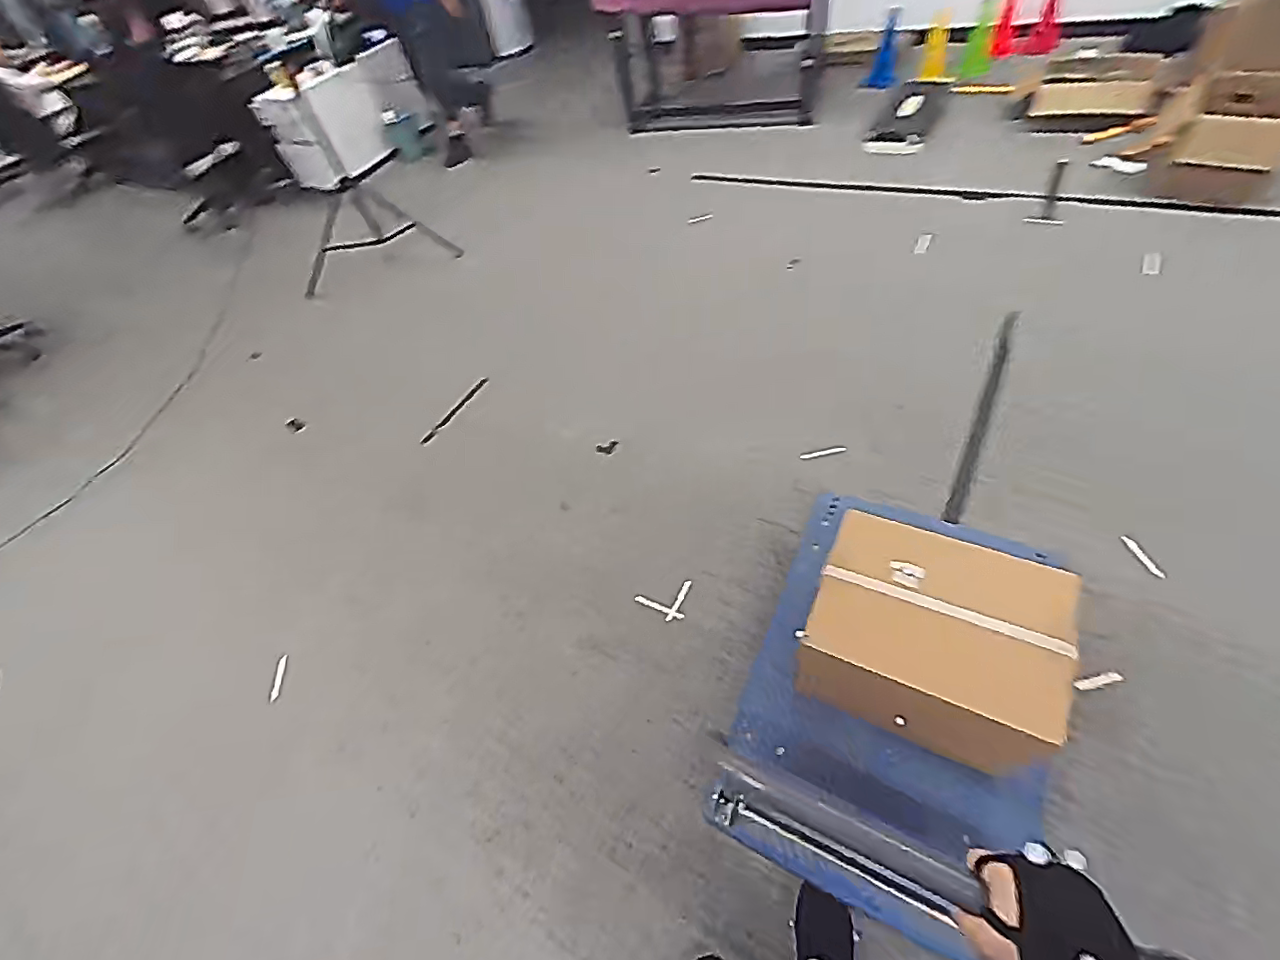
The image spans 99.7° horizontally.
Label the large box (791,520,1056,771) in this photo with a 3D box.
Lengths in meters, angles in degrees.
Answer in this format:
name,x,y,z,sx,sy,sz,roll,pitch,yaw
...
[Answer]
name,x,y,z,sx,sy,sz,roll,pitch,yaw
large box,0.554,0.335,1.111,0.408,0.320,0.320,16,58,24
